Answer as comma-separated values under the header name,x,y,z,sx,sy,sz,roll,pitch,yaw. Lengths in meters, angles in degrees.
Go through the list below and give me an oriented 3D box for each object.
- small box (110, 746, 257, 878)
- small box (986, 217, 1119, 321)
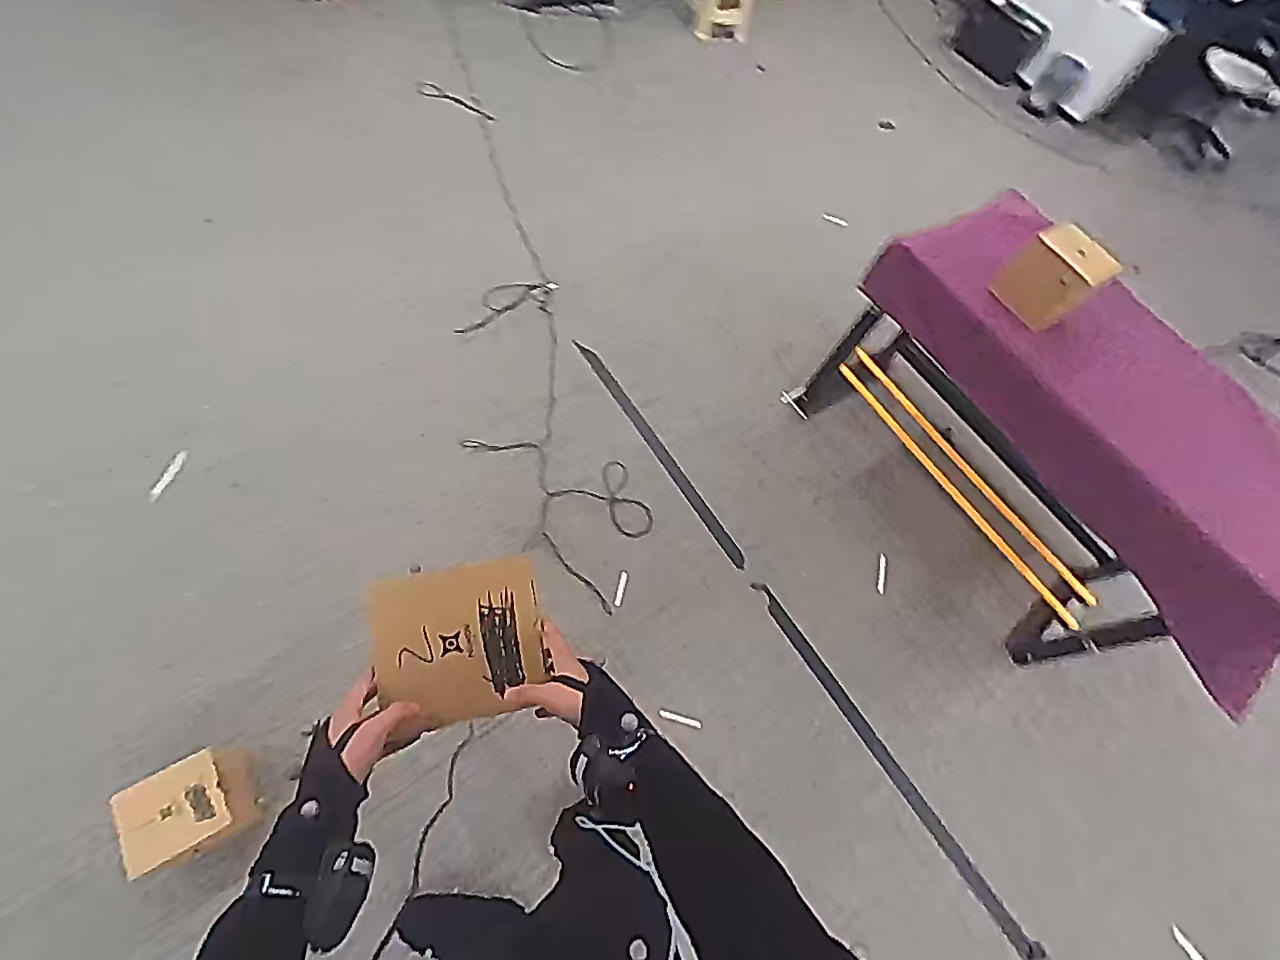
name,x,y,z,sx,sy,sz,roll,pitch,yaw
small box,-0.947,0.686,1.142,0.179,0.176,0.168,-26,71,-22
small box,1.053,-0.535,1.393,0.168,0.176,0.179,-26,72,-24
